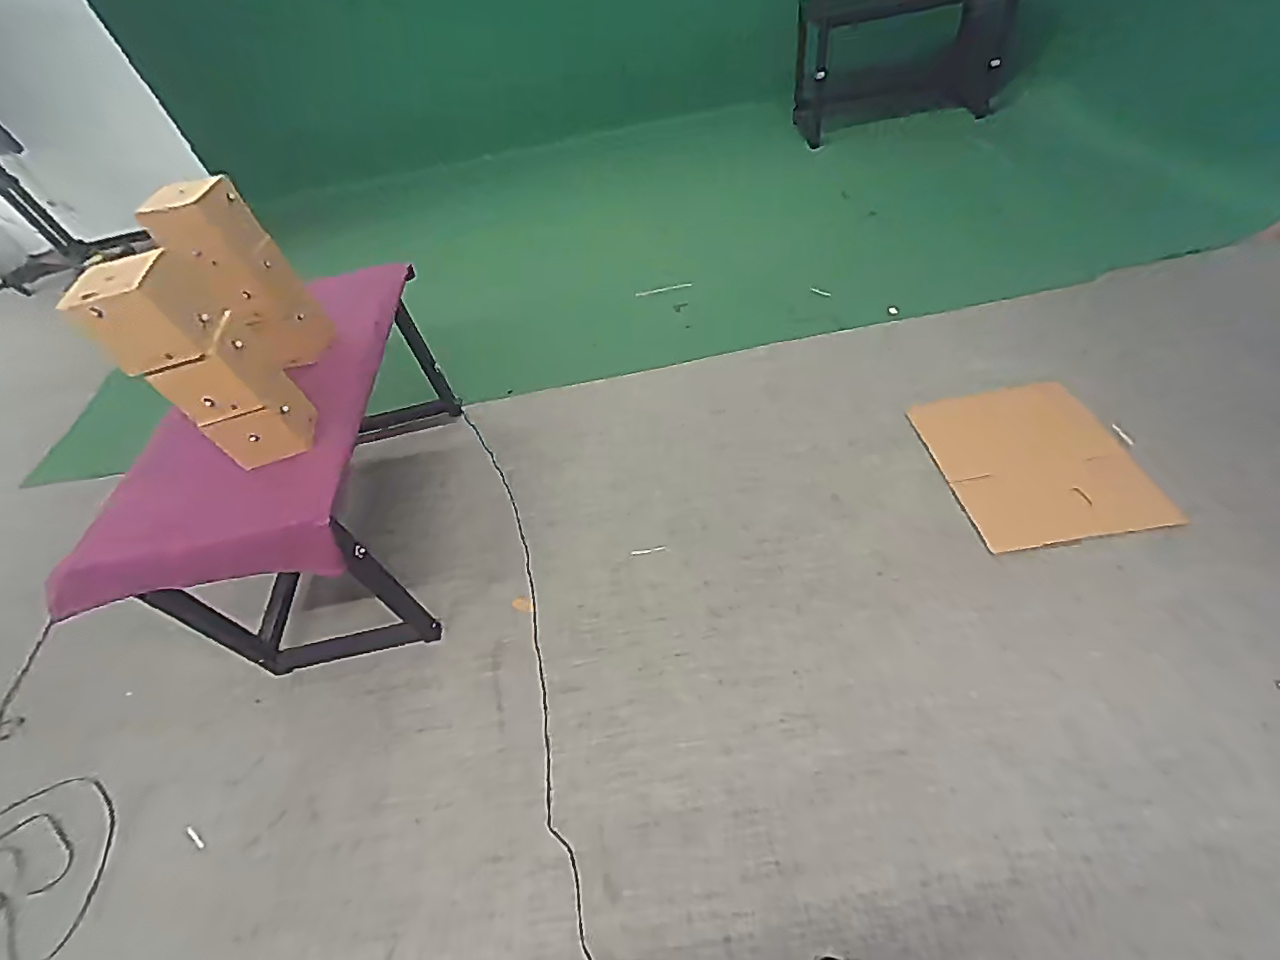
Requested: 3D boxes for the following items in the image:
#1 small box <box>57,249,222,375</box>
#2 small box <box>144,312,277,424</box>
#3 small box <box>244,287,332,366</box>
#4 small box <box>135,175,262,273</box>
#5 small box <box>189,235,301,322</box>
[{"bbox_3d":[-1.040,-0.353,1.145,0.168,0.176,0.179,-17,50,-1],"label":"small box"},{"bbox_3d":[-0.999,-0.262,1.277,0.168,0.176,0.179,-17,51,-2],"label":"small box"},{"bbox_3d":[-1.099,-0.471,1.680,0.168,0.176,0.179,-6,50,6],"label":"small box"},{"bbox_3d":[-1.148,-0.673,1.428,0.168,0.176,0.179,-7,51,5],"label":"small box"},{"bbox_3d":[-1.121,-0.571,1.555,0.168,0.176,0.179,-6,50,5],"label":"small box"}]
